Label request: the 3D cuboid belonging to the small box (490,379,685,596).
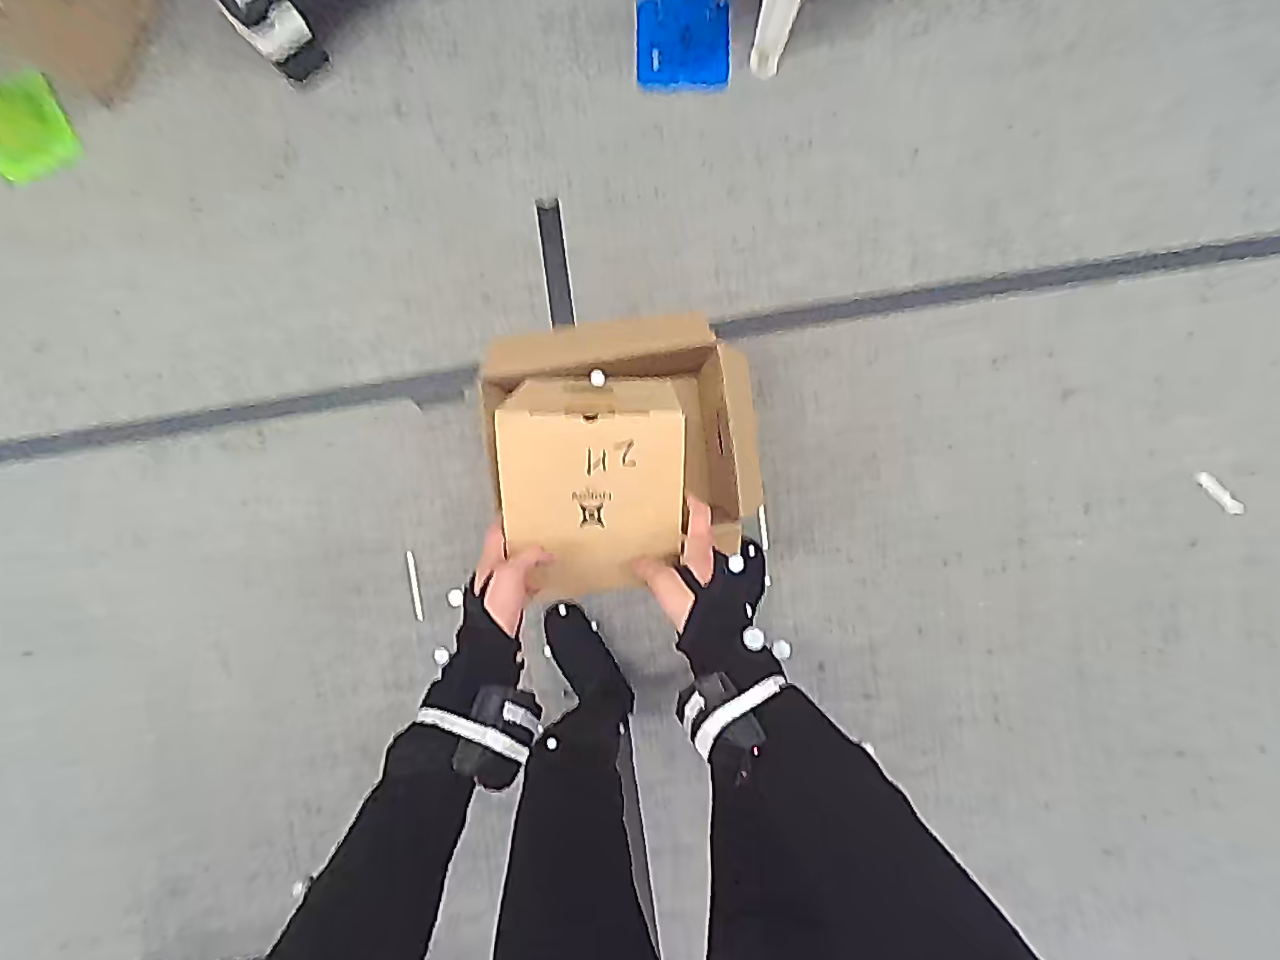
[{"bbox_3d":[-0.046,0.000,0.552,0.168,0.176,0.179,0,110,-2],"label":"small box"}]
